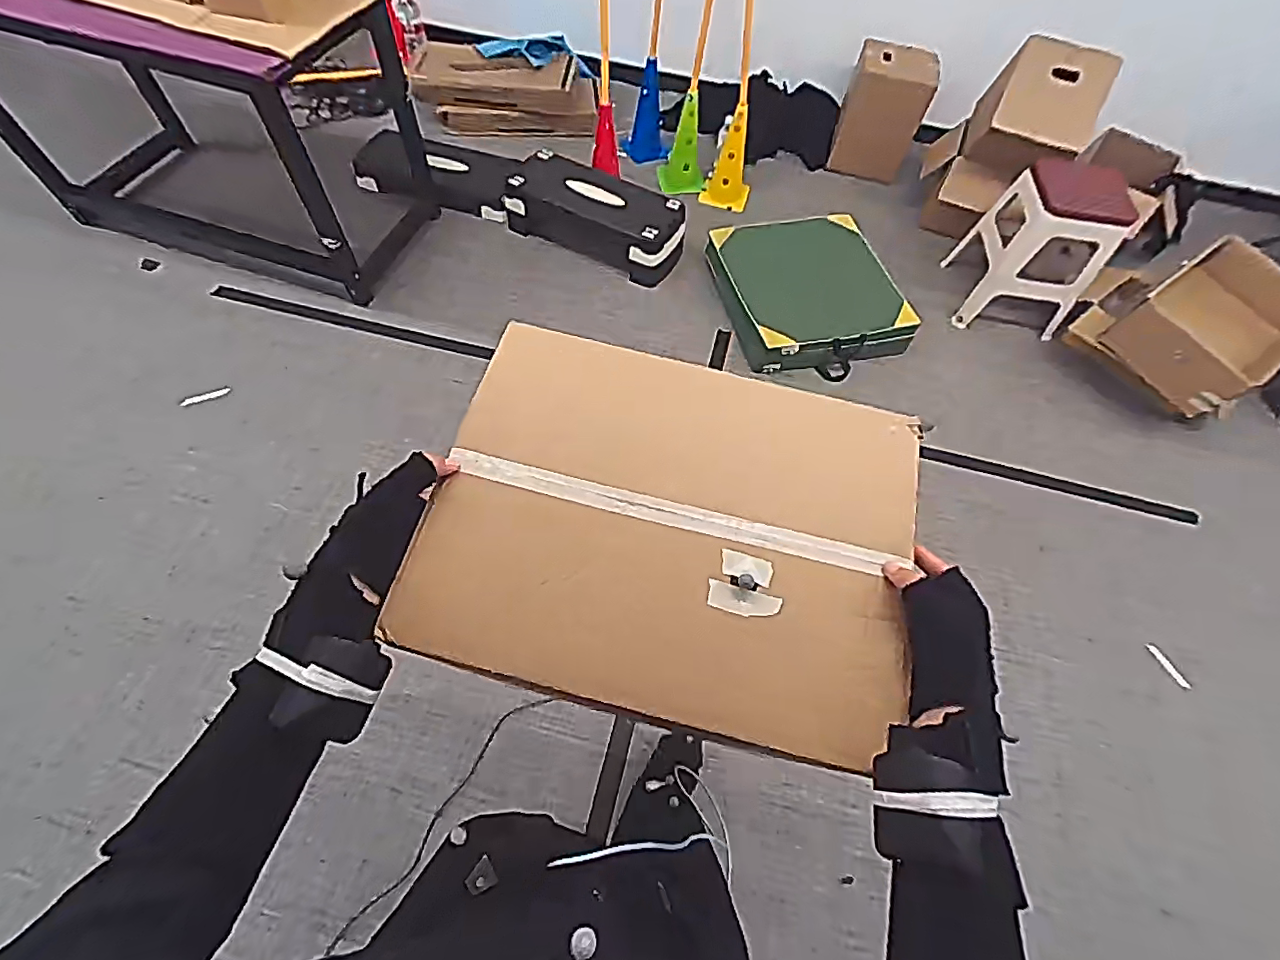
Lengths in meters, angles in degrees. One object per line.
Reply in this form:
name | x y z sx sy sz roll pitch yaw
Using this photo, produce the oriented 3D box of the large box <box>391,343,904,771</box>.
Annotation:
large box | 0.019 0.101 0.606 0.408 0.320 0.320 14 66 2
